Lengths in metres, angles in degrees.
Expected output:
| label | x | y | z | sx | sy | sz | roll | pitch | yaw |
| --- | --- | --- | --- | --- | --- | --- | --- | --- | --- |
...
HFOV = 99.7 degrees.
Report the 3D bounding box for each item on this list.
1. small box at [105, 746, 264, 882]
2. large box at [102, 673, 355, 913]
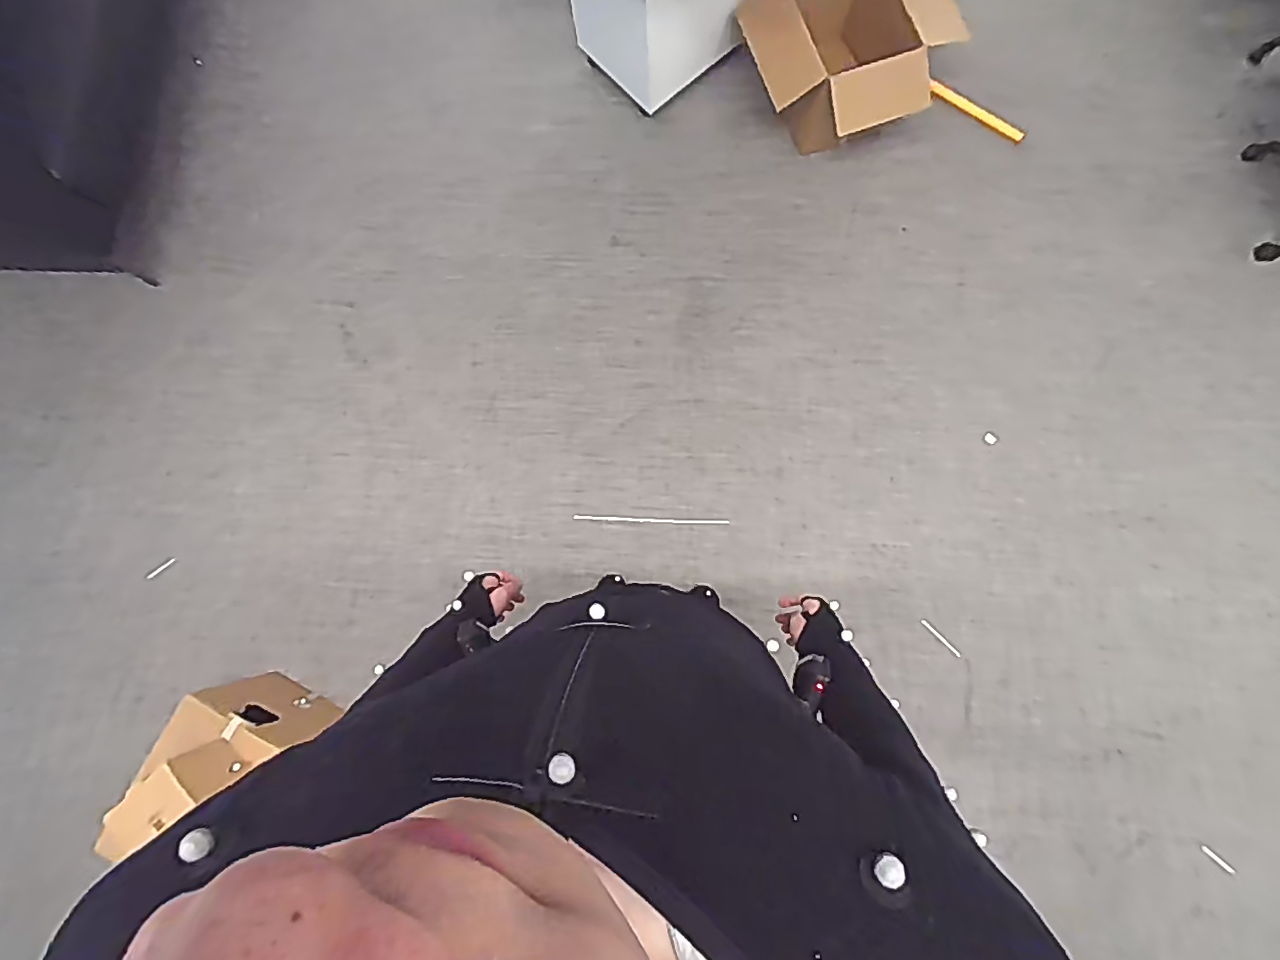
| label | x | y | z | sx | sy | sz | roll | pitch | yaw |
| --- | --- | --- | --- | --- | --- | --- | --- | --- | --- |
| small box | -1.002 | 0.725 | 1.204 | 0.168 | 0.176 | 0.179 | -44 | 83 | -5 |
| large box | -1.060 | 0.793 | 1.445 | 0.320 | 0.320 | 0.408 | 25 | 83 | 7 |
